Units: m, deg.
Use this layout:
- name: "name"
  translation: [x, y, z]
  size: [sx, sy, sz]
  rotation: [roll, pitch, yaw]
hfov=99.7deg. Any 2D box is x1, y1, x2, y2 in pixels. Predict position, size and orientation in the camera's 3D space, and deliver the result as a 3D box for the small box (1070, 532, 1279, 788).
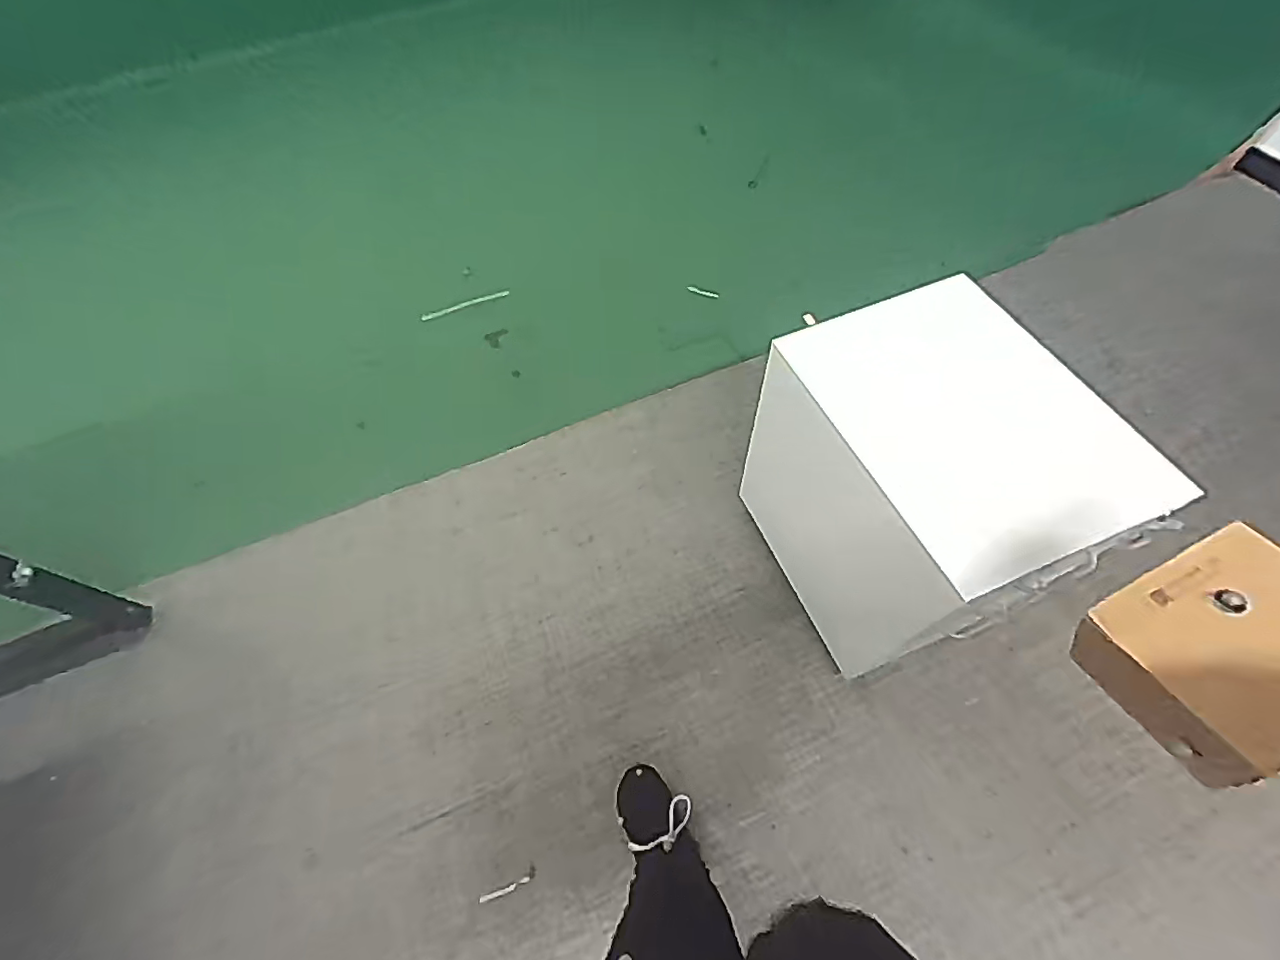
- name: "small box"
  translation: [0.580, 0.180, 0.543]
  size: [0.168, 0.179, 0.176]
  rotation: [-38, 47, 8]
